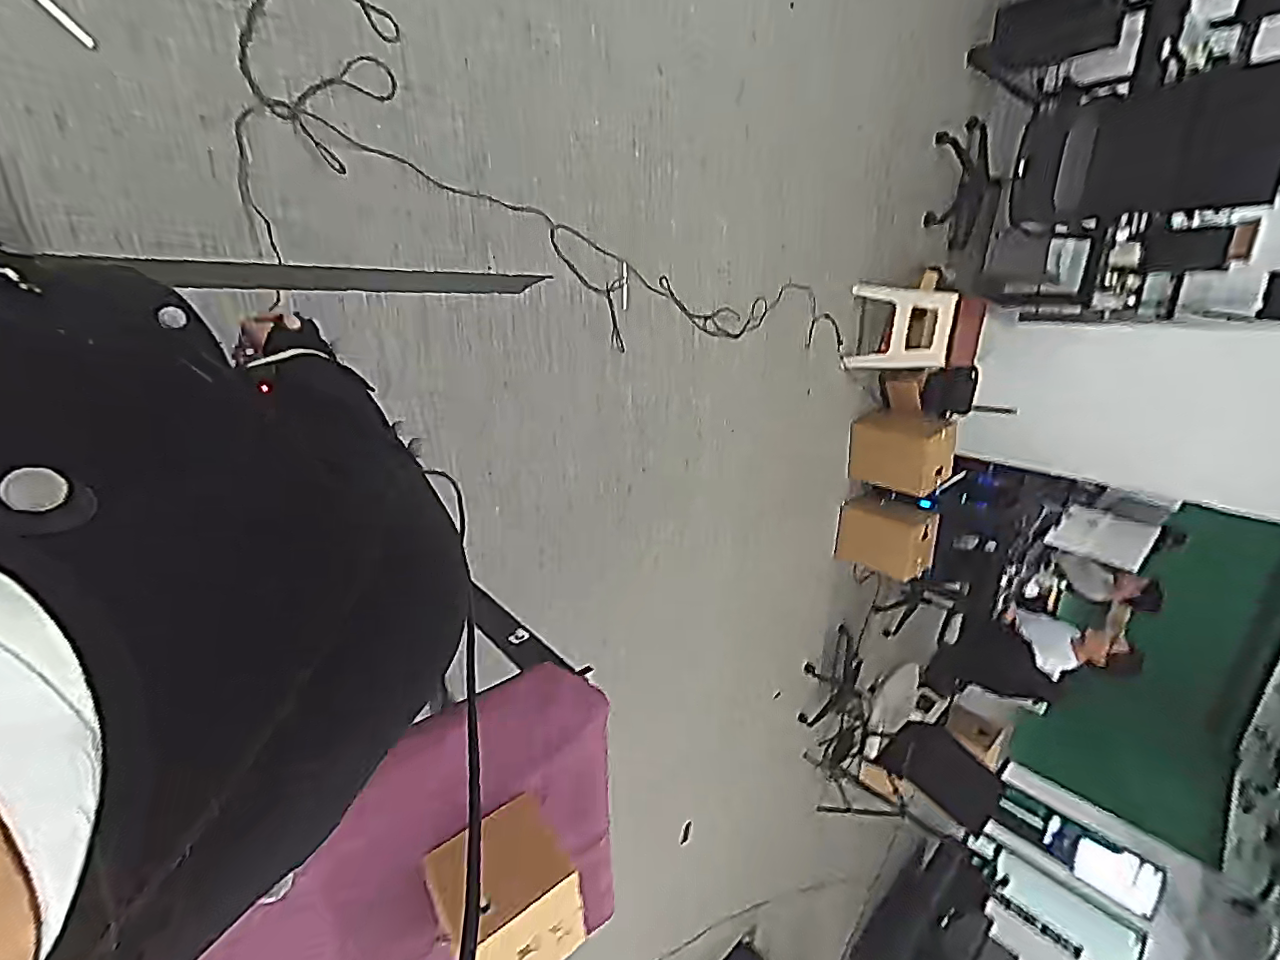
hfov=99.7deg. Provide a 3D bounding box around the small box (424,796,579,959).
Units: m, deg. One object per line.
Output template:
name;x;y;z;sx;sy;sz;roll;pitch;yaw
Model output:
small box;-0.215;0.639;0.827;0.179;0.176;0.168;-18;116;-35
